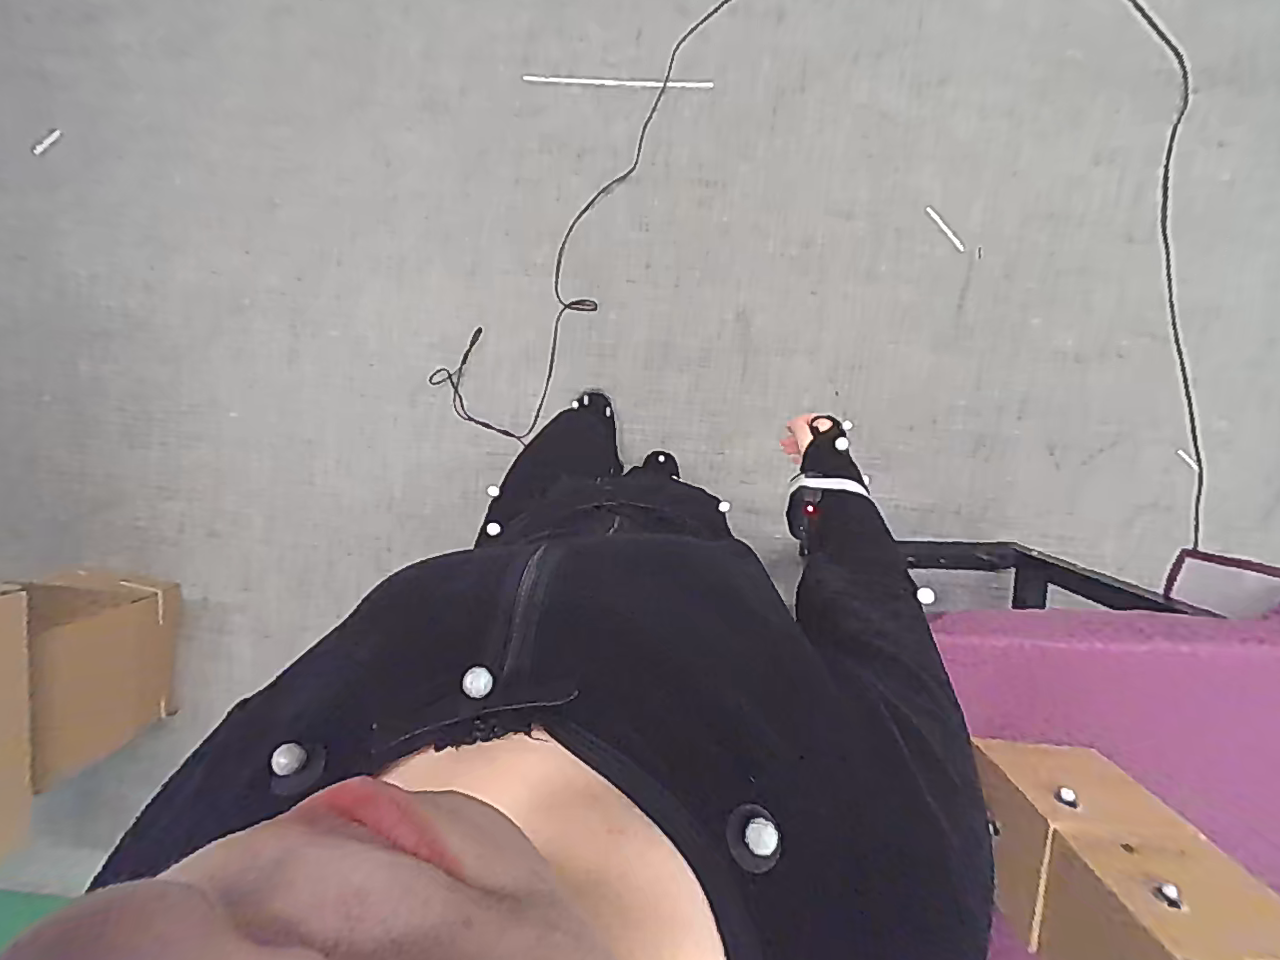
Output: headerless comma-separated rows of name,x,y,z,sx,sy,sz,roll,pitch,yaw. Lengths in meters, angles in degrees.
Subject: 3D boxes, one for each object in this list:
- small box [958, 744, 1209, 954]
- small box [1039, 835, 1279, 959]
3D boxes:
small box,0.544,0.466,0.693,0.179,0.176,0.168,5,98,2
small box,0.535,0.490,0.531,0.168,0.176,0.179,3,97,4
